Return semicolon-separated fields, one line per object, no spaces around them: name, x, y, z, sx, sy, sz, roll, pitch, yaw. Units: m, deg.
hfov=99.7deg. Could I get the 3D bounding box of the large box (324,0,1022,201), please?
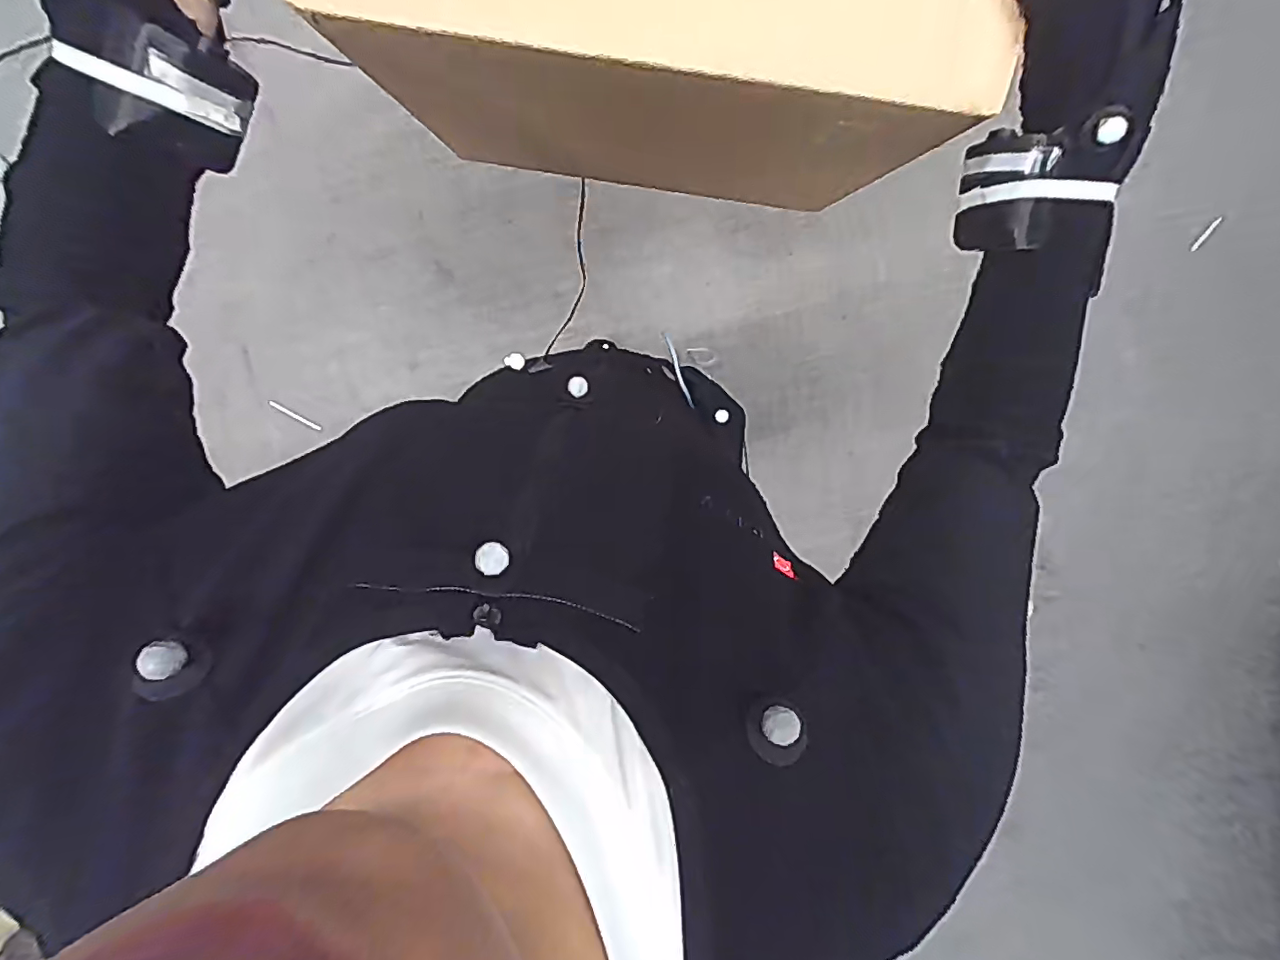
large box;0.028;-0.431;0.412;0.408;0.320;0.320;6;107;-4
